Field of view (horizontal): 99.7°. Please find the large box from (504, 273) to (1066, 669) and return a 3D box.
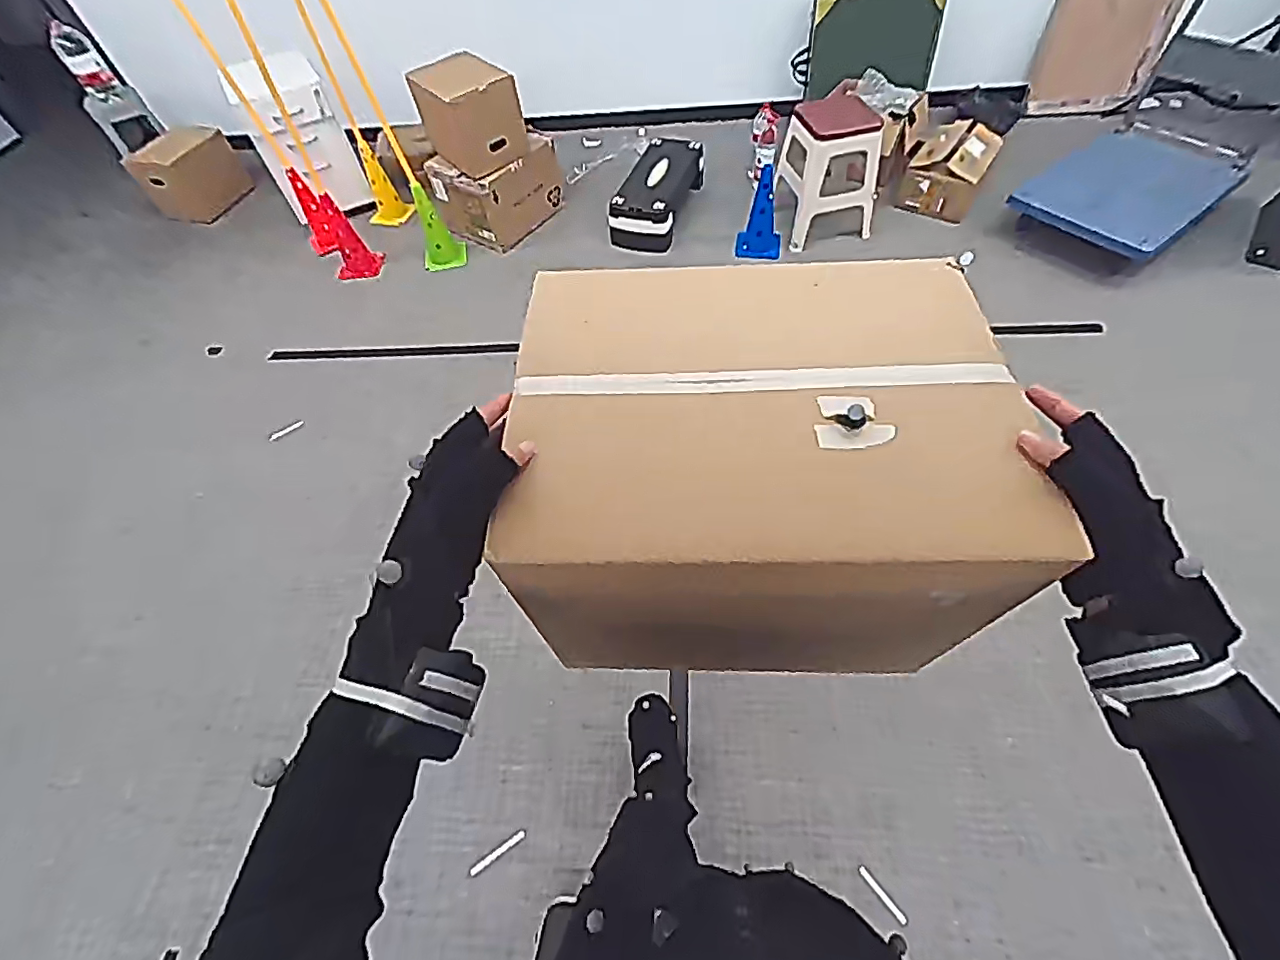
[{"bbox_3d":[0.104,0.007,0.583,0.408,0.320,0.320,-1,58,3],"label":"large box"}]
